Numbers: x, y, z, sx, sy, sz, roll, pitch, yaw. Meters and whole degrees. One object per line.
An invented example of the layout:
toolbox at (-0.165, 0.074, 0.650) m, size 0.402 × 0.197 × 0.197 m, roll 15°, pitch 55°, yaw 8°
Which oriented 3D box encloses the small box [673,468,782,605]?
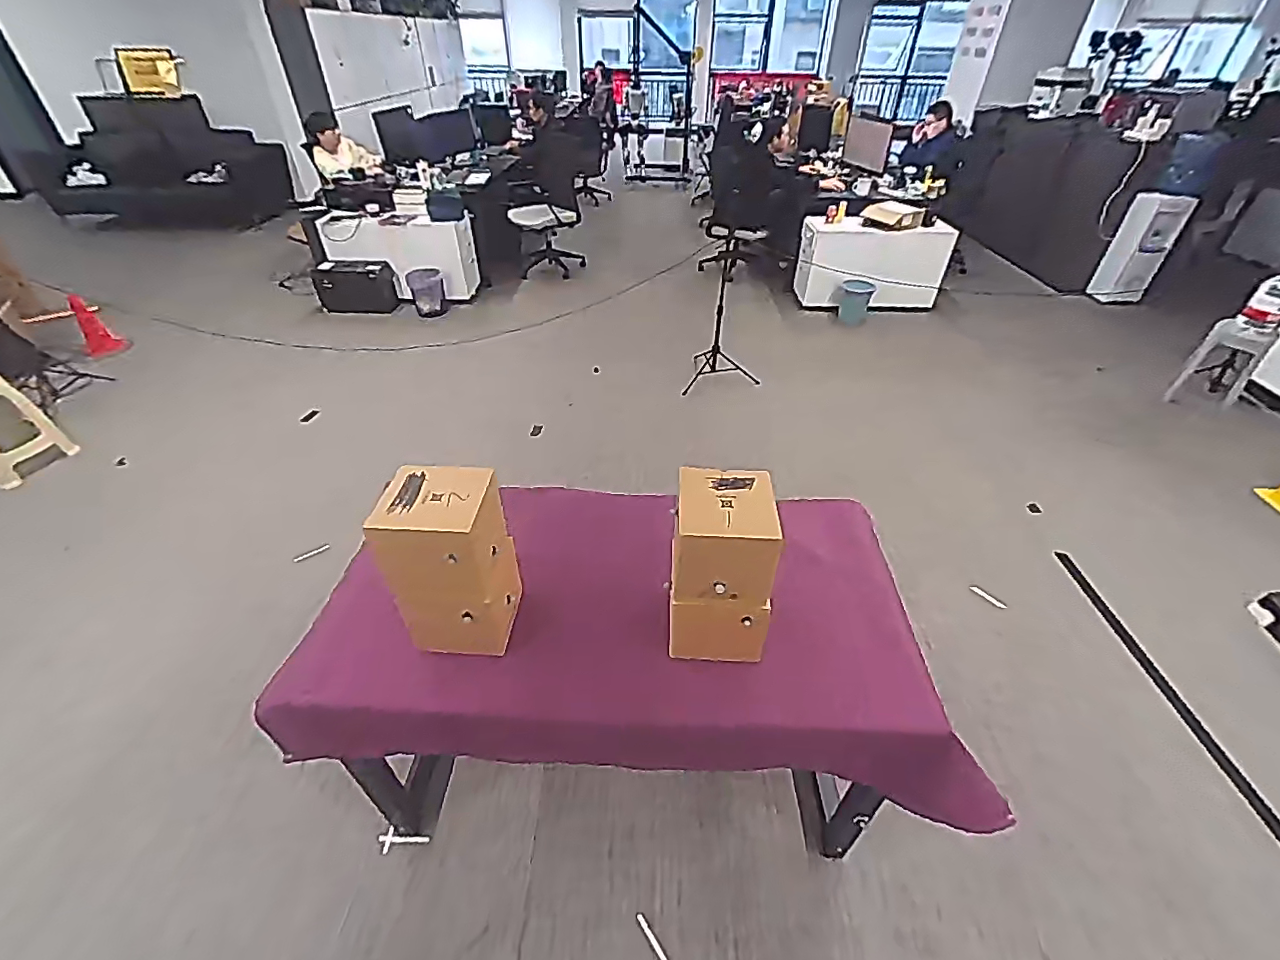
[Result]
small box at (0.145, 0.099, 0.963) m, size 0.168 × 0.176 × 0.179 m, roll 3°, pitch 40°, yaw 2°

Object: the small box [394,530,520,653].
small box at (-0.345, 0.221, 1.061) m, size 0.179 × 0.176 × 0.168 m, roll 3°, pitch 39°, yaw 3°

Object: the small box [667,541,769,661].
small box at (0.144, 0.235, 1.057) m, size 0.179 × 0.176 × 0.168 m, roll 3°, pitch 39°, yaw 2°
